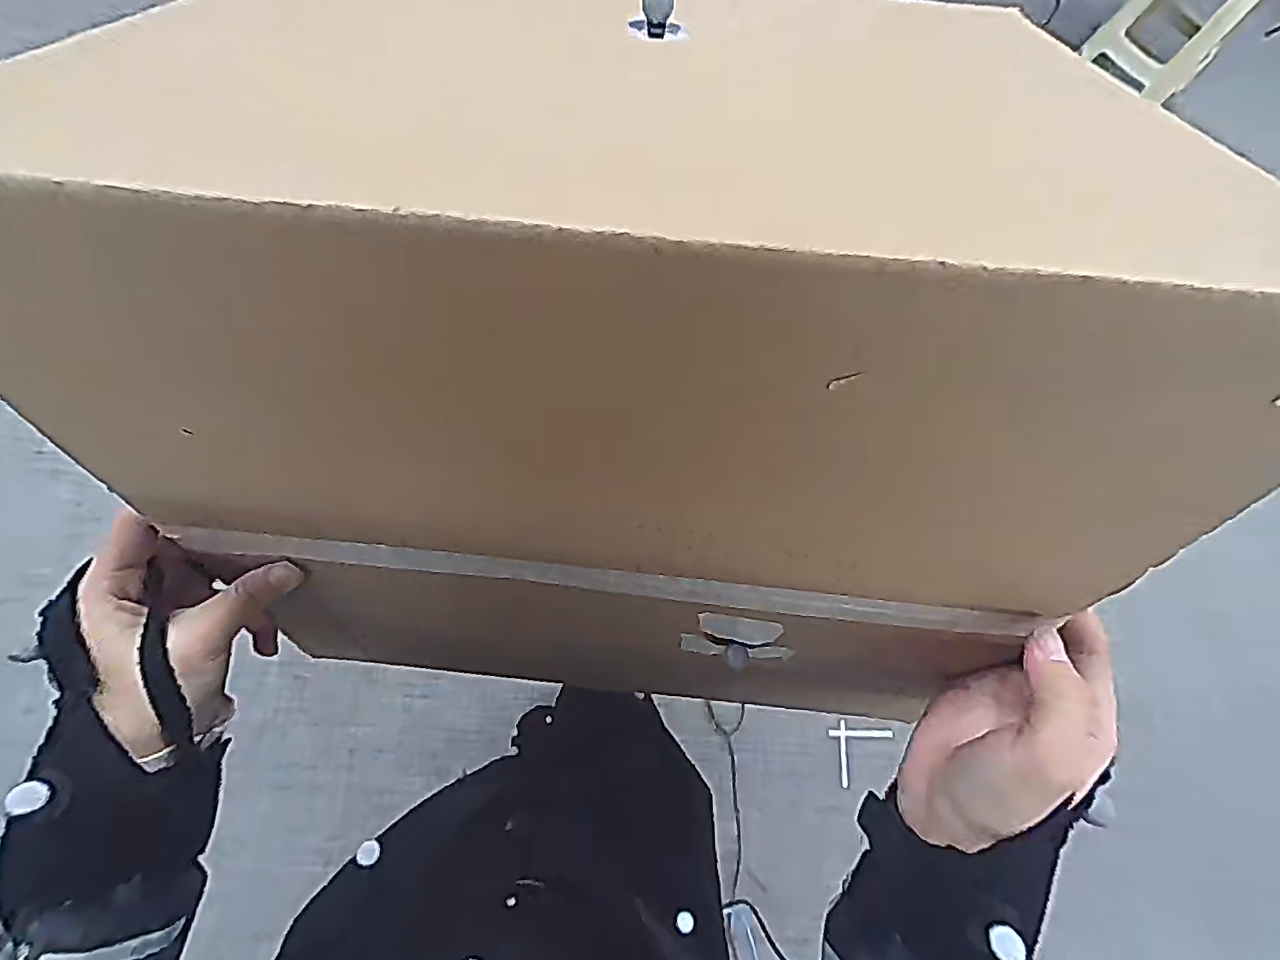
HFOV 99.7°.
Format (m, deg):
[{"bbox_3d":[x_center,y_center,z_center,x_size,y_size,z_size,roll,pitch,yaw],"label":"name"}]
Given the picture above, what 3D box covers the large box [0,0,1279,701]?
[{"bbox_3d":[-0.005,-0.077,0.348,0.408,0.320,0.320,5,52,1],"label":"large box"}]
